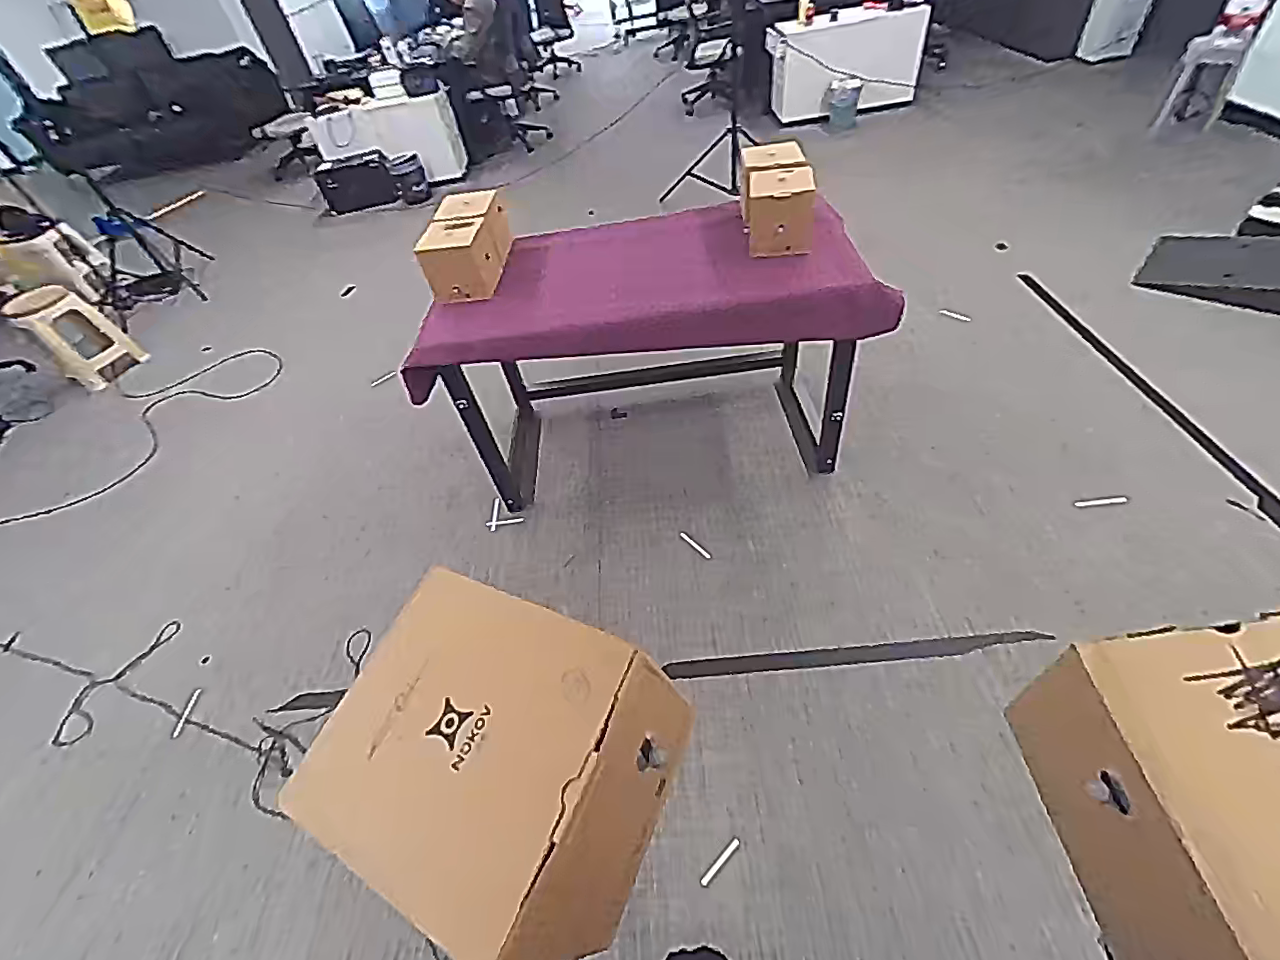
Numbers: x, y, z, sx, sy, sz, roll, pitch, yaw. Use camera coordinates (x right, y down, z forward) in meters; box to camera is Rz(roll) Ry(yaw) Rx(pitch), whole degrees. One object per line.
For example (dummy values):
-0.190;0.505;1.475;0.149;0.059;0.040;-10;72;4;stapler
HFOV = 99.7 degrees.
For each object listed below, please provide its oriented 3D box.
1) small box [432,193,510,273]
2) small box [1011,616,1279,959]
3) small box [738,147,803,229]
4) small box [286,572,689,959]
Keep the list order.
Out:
-0.522;-0.775;1.700;0.168;0.176;0.179;-4;49;7;small box
0.367;0.200;0.329;0.168;0.176;0.179;-12;53;10;small box
0.388;-0.881;1.636;0.168;0.176;0.179;-4;47;6;small box
-0.082;0.193;0.380;0.179;0.176;0.168;12;60;28;small box
